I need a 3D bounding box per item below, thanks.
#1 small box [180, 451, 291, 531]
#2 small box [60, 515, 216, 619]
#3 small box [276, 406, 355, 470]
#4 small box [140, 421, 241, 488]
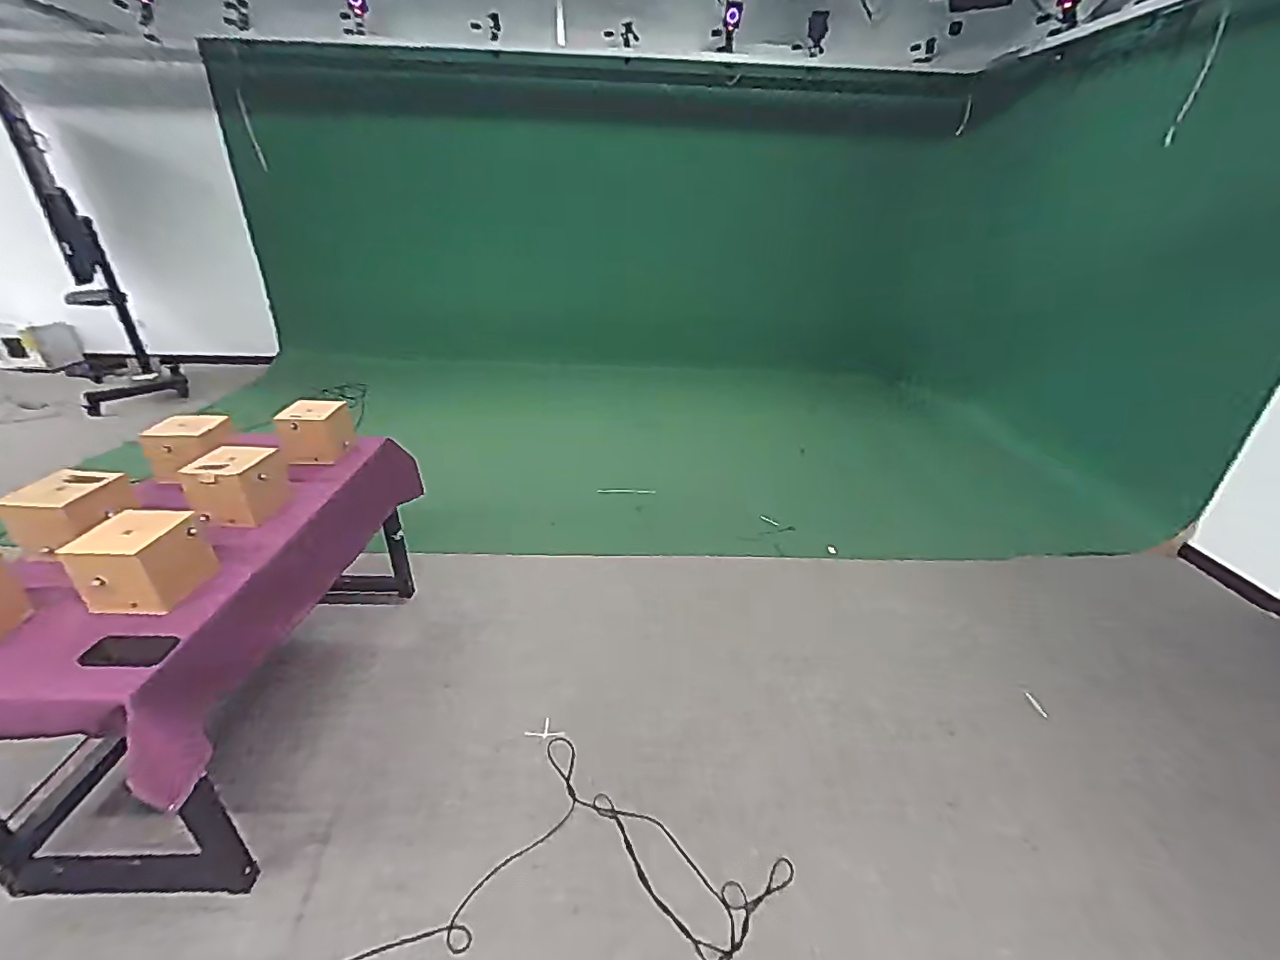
[{"bbox_3d":[-1.130,0.032,1.530,0.168,0.176,0.179,3,27,1],"label":"small box"},{"bbox_3d":[-1.110,0.195,1.218,0.168,0.176,0.179,2,26,0],"label":"small box"},{"bbox_3d":[-1.114,-0.148,1.876,0.168,0.176,0.179,0,27,-2],"label":"small box"},{"bbox_3d":[-1.417,-0.081,1.725,0.179,0.176,0.168,0,28,-4],"label":"small box"}]
